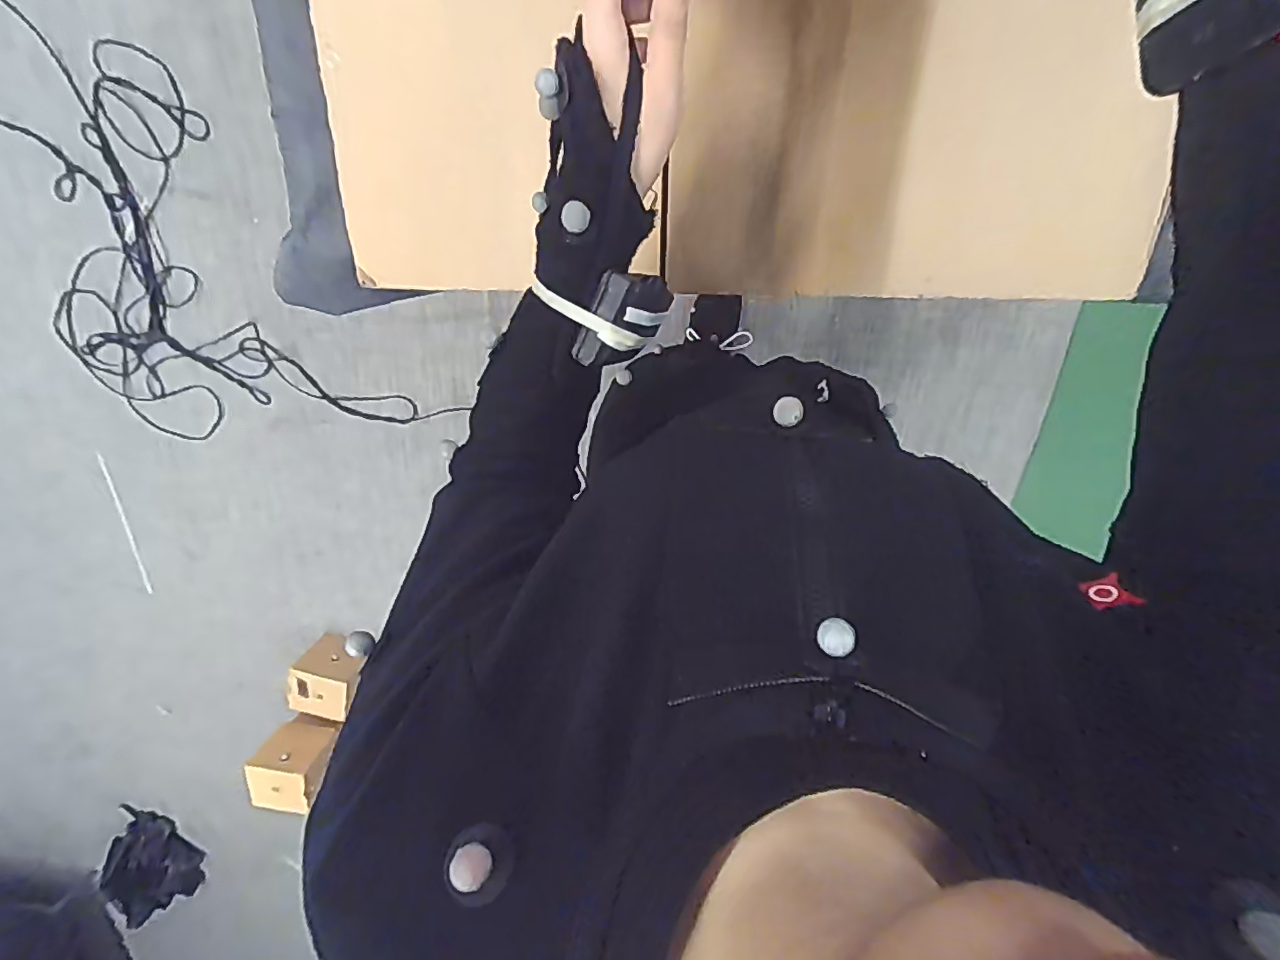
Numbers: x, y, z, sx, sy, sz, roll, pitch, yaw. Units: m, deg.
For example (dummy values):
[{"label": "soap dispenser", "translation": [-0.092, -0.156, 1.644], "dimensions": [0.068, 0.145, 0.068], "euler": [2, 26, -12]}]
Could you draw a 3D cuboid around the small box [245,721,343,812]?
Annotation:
[{"label": "small box", "translation": [-1.031, 0.853, 1.623], "dimensions": [0.179, 0.176, 0.168], "euler": [8, 112, 2]}]

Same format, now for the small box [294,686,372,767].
[{"label": "small box", "translation": [-1.003, 0.804, 1.777], "dimensions": [0.179, 0.176, 0.168], "euler": [8, 113, 2]}]
